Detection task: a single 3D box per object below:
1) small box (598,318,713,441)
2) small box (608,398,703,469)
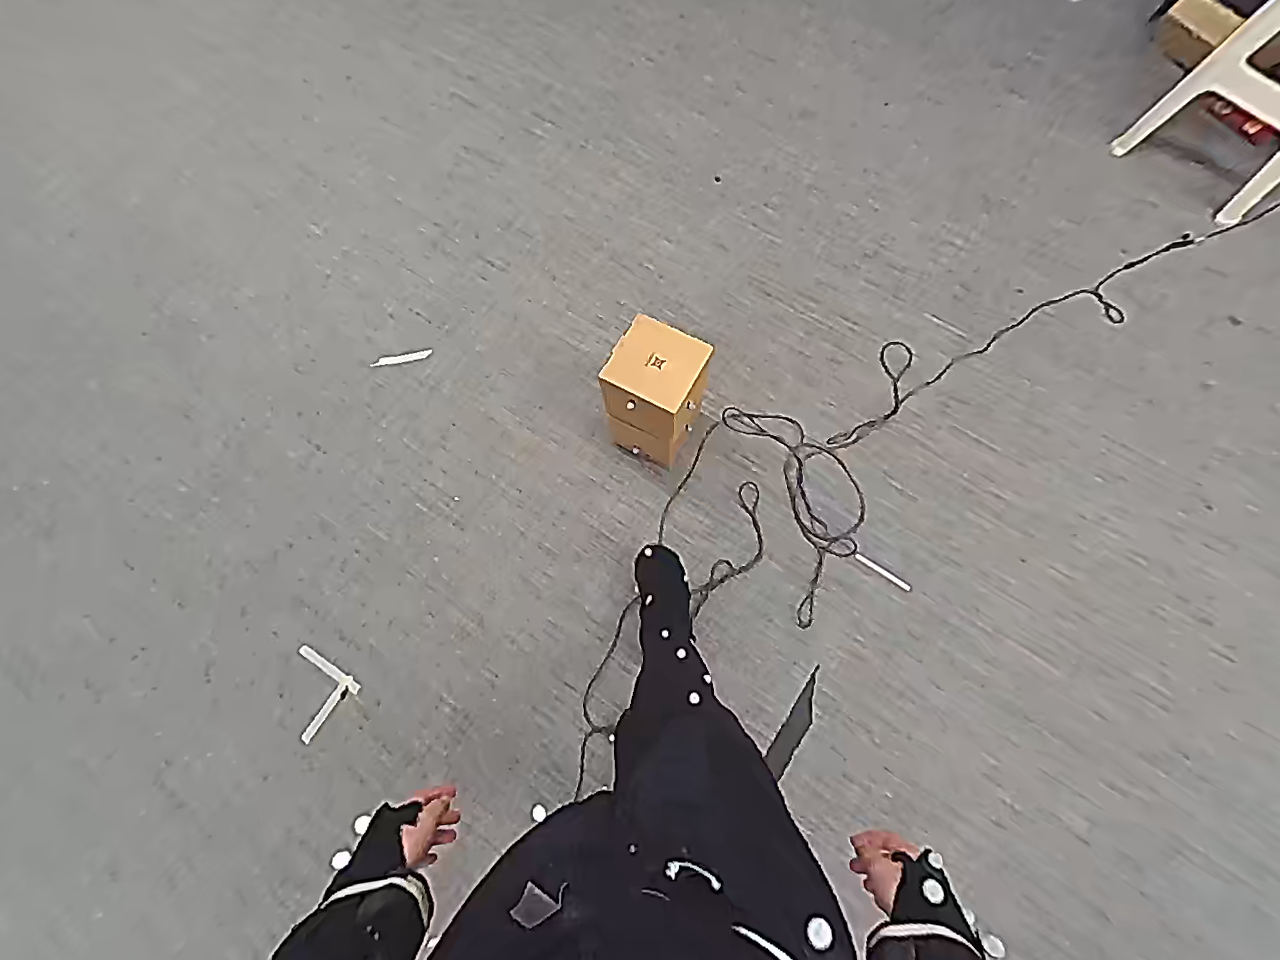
[{"bbox_3d":[0.037,-0.200,1.135,0.179,0.176,0.168,27,76,12],"label":"small box"},{"bbox_3d":[0.040,-0.153,1.290,0.168,0.176,0.179,25,76,11],"label":"small box"}]
